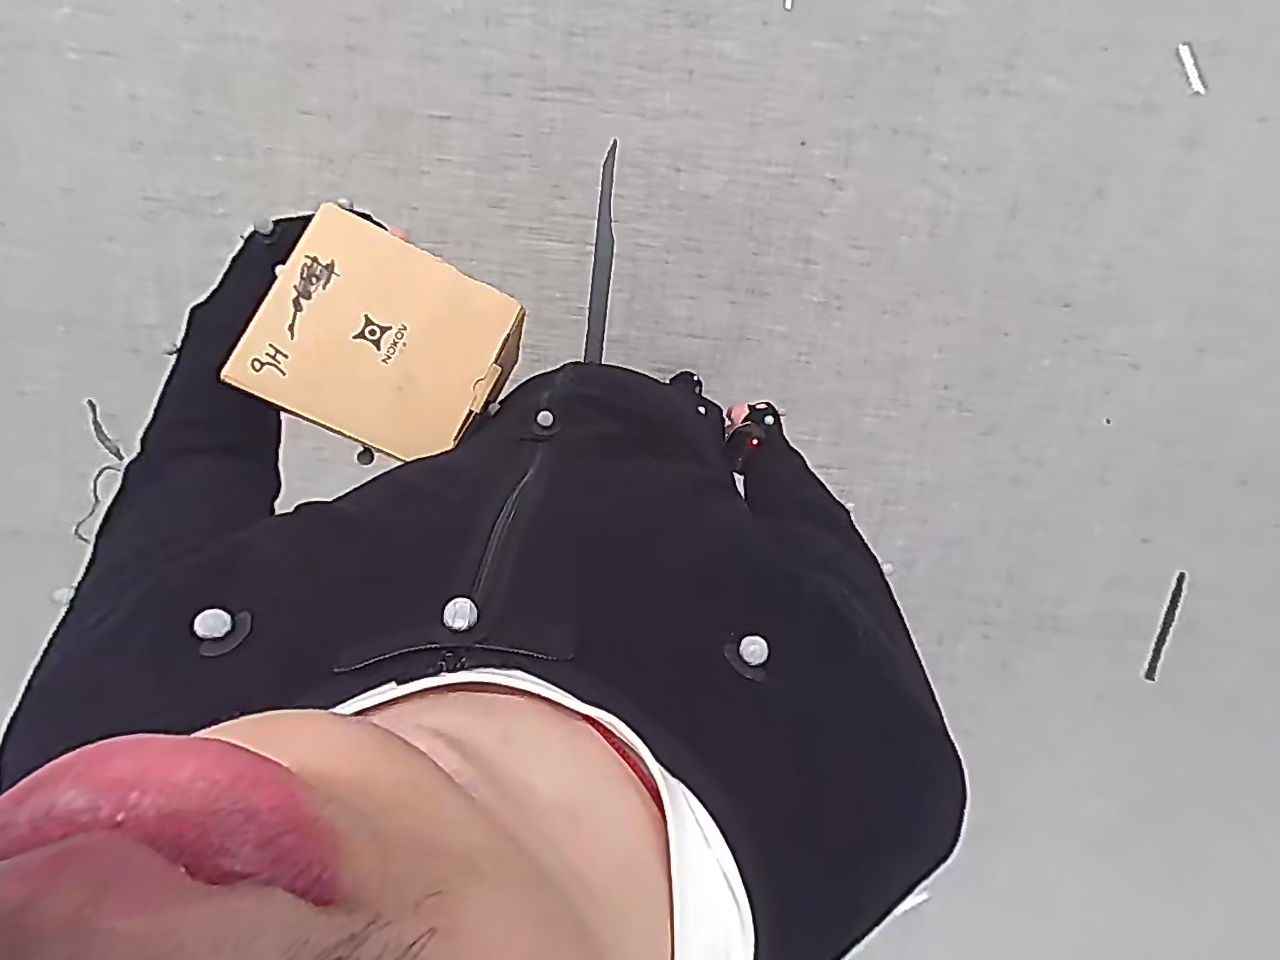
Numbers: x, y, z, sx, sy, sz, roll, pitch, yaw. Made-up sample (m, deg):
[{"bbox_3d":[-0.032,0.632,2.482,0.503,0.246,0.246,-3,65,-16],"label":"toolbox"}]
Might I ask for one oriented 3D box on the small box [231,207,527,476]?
[{"bbox_3d":[-0.227,-0.110,0.521,0.179,0.176,0.168,25,80,-13],"label":"small box"}]
